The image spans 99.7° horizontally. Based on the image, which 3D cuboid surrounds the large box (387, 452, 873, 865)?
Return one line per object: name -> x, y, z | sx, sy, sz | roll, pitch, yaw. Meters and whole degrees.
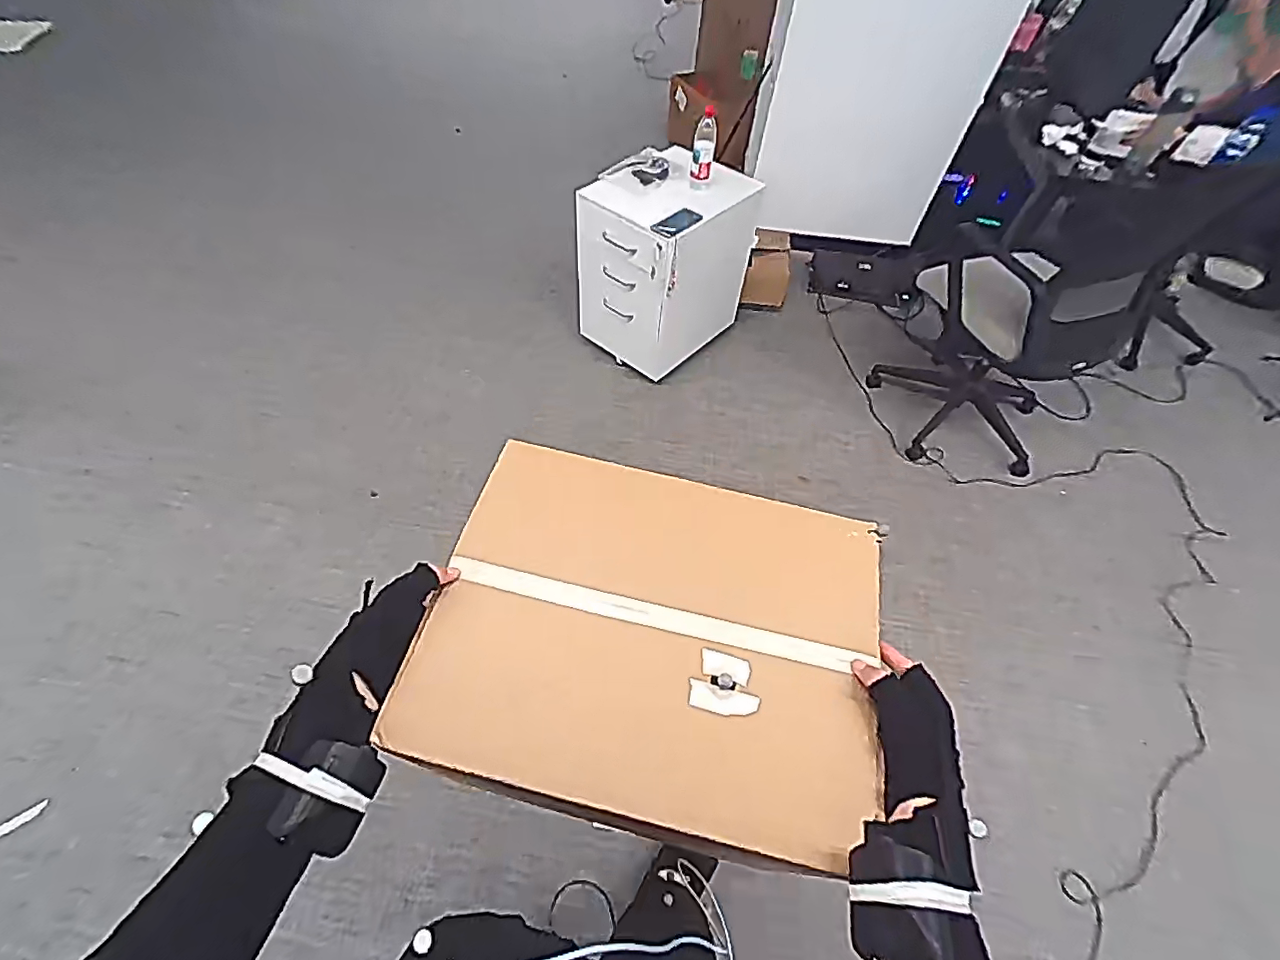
large box -> 0.003, 0.214, 0.630 | 0.408, 0.320, 0.320 | 13, 57, 3
